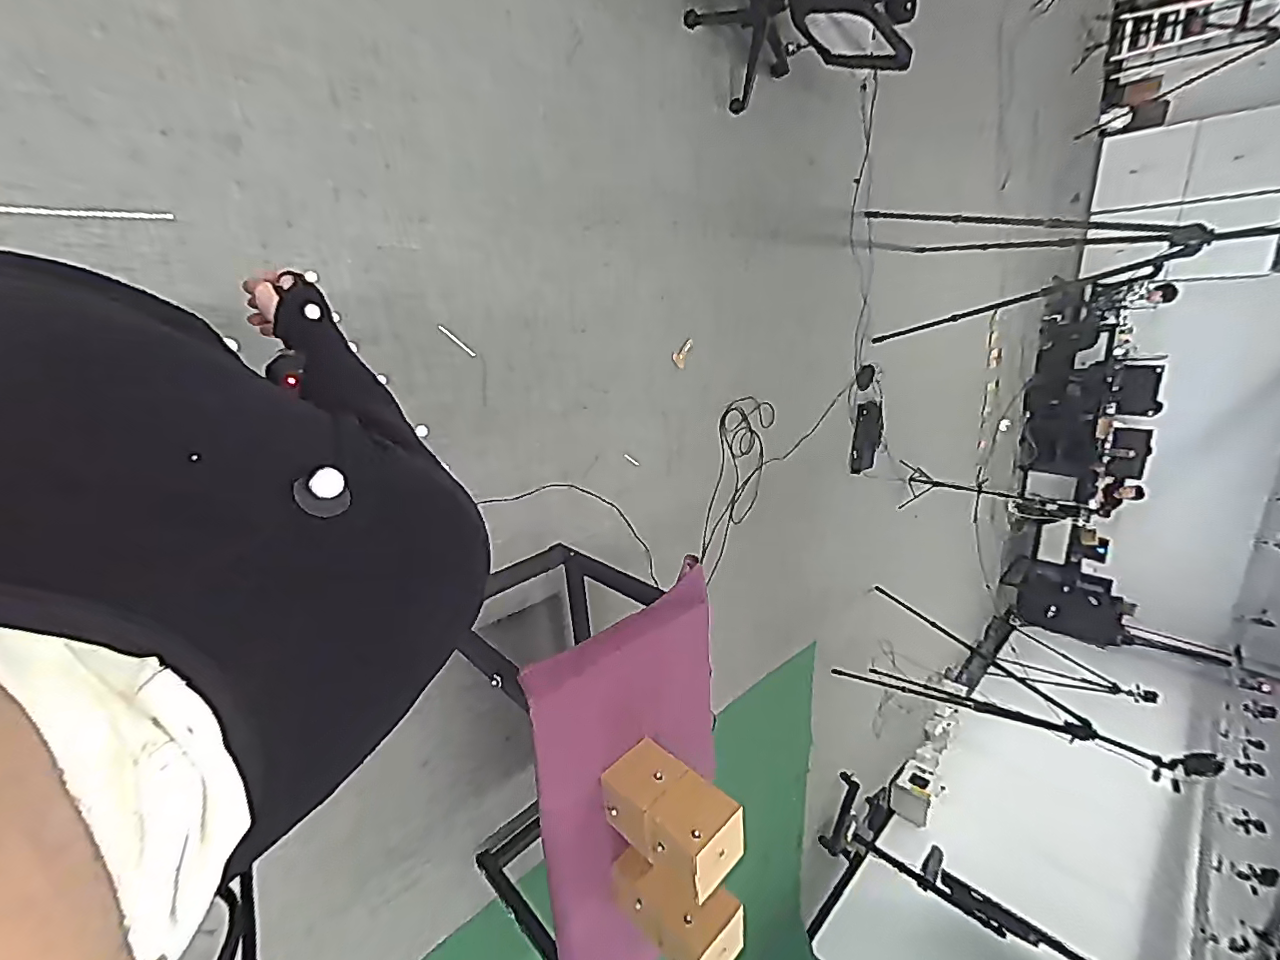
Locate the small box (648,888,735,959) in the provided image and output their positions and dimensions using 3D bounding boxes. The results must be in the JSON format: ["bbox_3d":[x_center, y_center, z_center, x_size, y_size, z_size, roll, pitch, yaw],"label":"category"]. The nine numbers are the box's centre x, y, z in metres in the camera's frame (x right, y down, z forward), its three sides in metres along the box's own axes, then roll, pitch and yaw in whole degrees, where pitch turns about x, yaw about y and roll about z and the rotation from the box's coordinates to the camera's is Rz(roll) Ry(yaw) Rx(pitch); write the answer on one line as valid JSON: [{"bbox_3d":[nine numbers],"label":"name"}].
[{"bbox_3d":[0.132,1.192,1.426,0.179,0.176,0.168,-19,114,-42],"label":"small box"}]

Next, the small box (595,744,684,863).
[{"bbox_3d":[0.001,0.849,1.440,0.179,0.176,0.168,-21,114,-40],"label":"small box"}]

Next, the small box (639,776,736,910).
[{"bbox_3d":[0.116,0.877,1.329,0.179,0.176,0.168,-21,115,-39],"label":"small box"}]
